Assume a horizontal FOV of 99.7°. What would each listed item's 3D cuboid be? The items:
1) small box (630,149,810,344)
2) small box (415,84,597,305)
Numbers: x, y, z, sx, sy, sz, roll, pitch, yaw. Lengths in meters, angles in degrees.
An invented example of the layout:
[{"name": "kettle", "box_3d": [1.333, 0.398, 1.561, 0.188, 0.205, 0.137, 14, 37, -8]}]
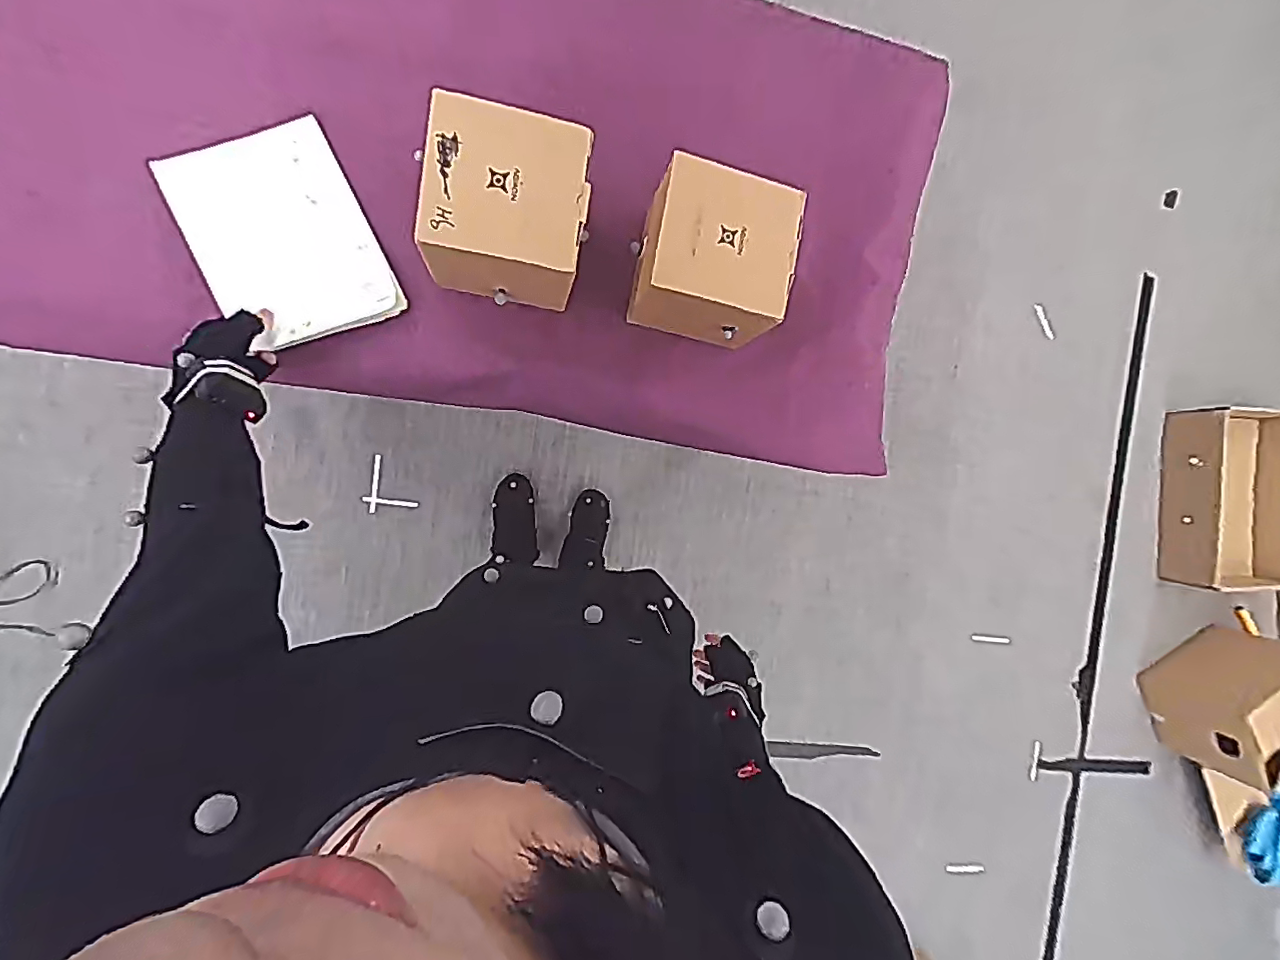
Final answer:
[{"name": "small box", "box_3d": [0.096, -0.293, 0.722, 0.179, 0.176, 0.168, 11, 88, -11]}, {"name": "small box", "box_3d": [-0.161, -0.328, 0.665, 0.179, 0.176, 0.168, 8, 90, -13]}]
